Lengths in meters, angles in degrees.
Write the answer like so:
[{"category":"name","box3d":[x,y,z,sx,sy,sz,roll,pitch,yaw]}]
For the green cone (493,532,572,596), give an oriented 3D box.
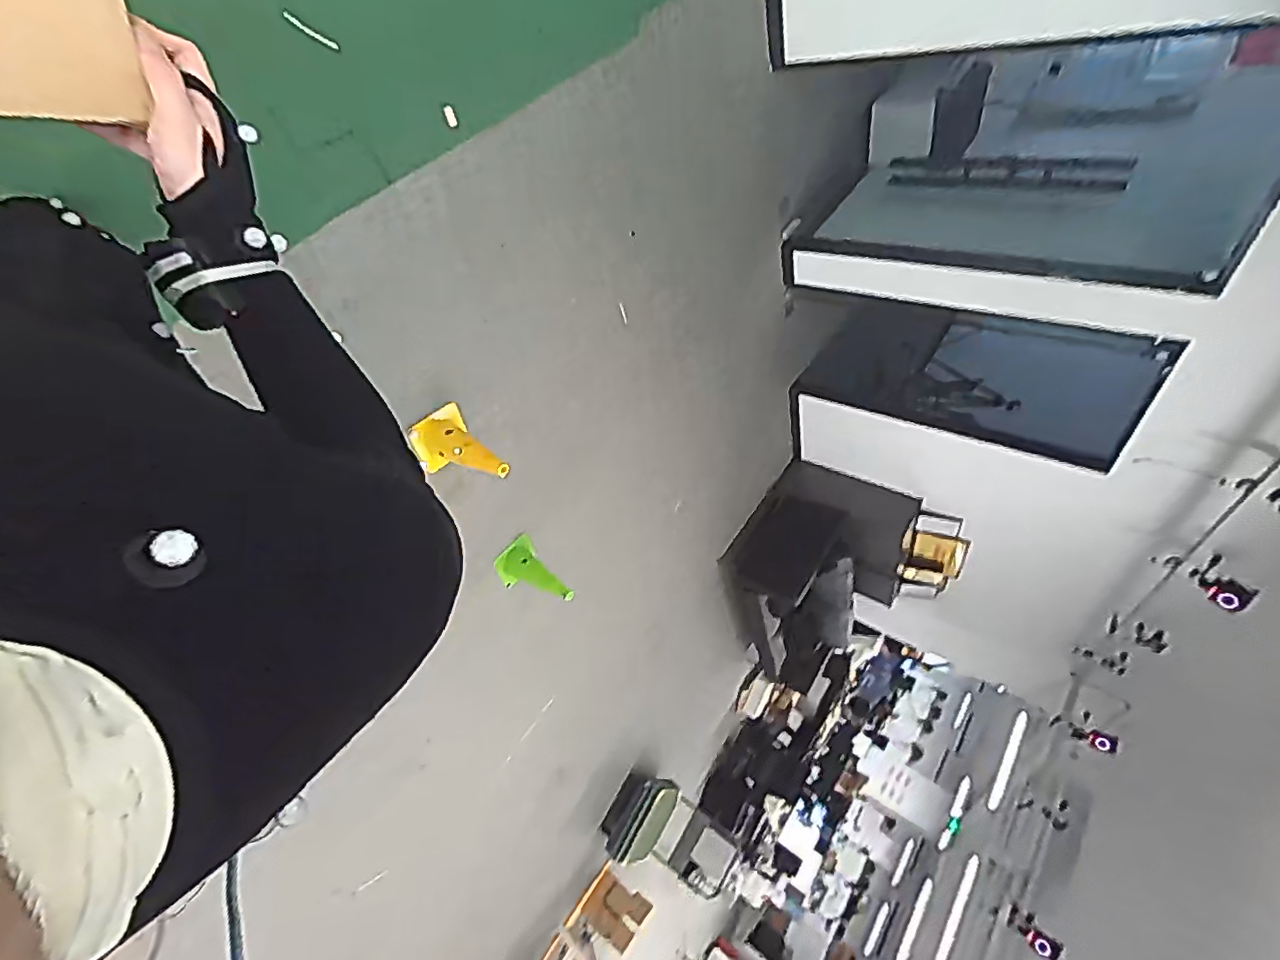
[{"category":"green cone","box3d":[-0.433,0.409,2.356,0.200,0.368,0.202,-47,141,-29]}]
